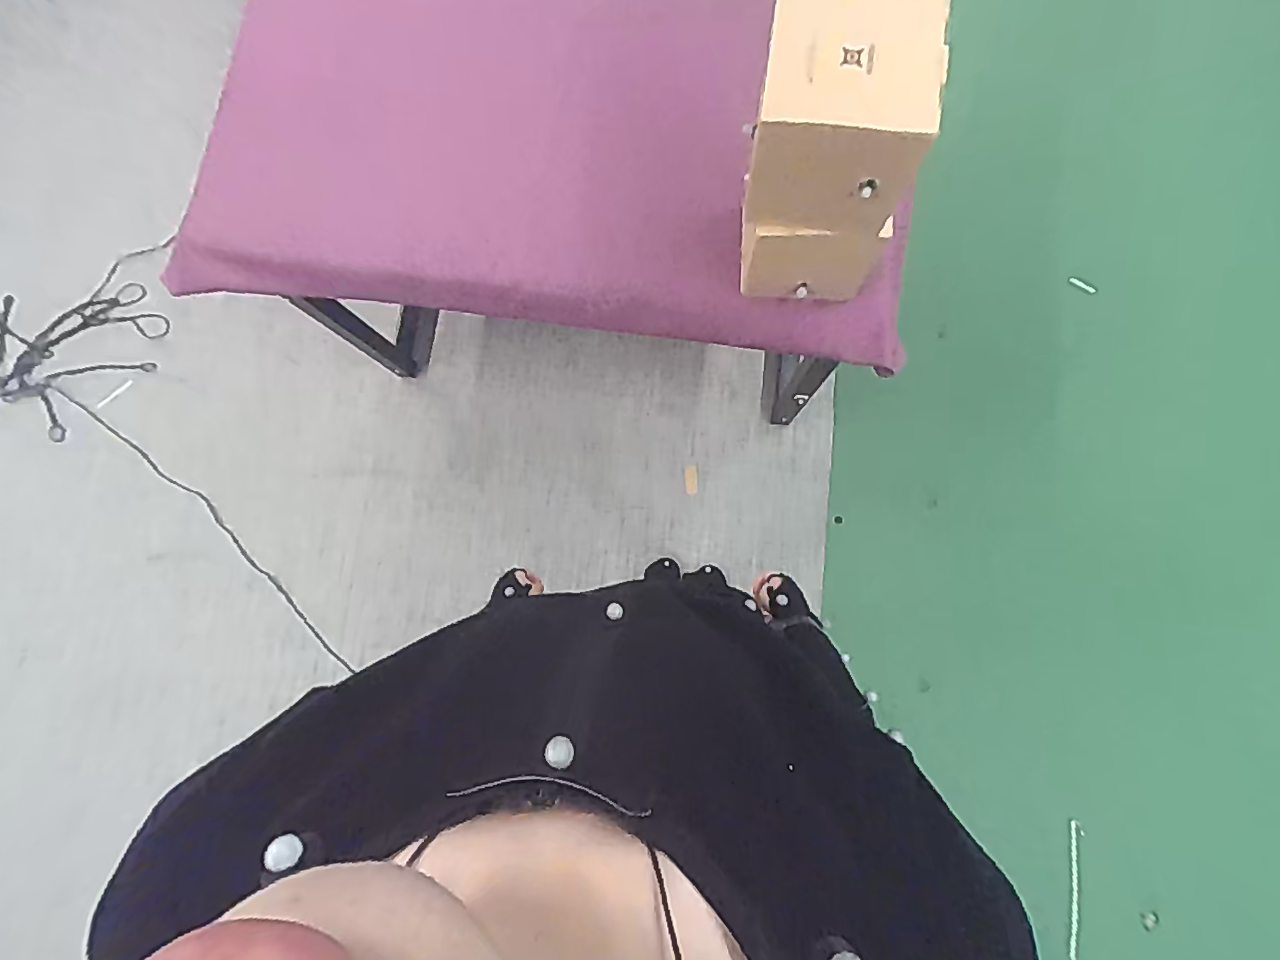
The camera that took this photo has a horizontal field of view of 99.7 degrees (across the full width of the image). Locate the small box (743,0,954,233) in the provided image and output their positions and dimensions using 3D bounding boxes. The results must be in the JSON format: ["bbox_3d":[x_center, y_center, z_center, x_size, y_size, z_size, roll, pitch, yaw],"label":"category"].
[{"bbox_3d":[0.224,-0.411,0.621,0.179,0.176,0.168,9,82,6],"label":"small box"}]

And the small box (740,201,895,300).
[{"bbox_3d":[0.246,-0.376,0.780,0.179,0.176,0.168,3,81,4],"label":"small box"}]
